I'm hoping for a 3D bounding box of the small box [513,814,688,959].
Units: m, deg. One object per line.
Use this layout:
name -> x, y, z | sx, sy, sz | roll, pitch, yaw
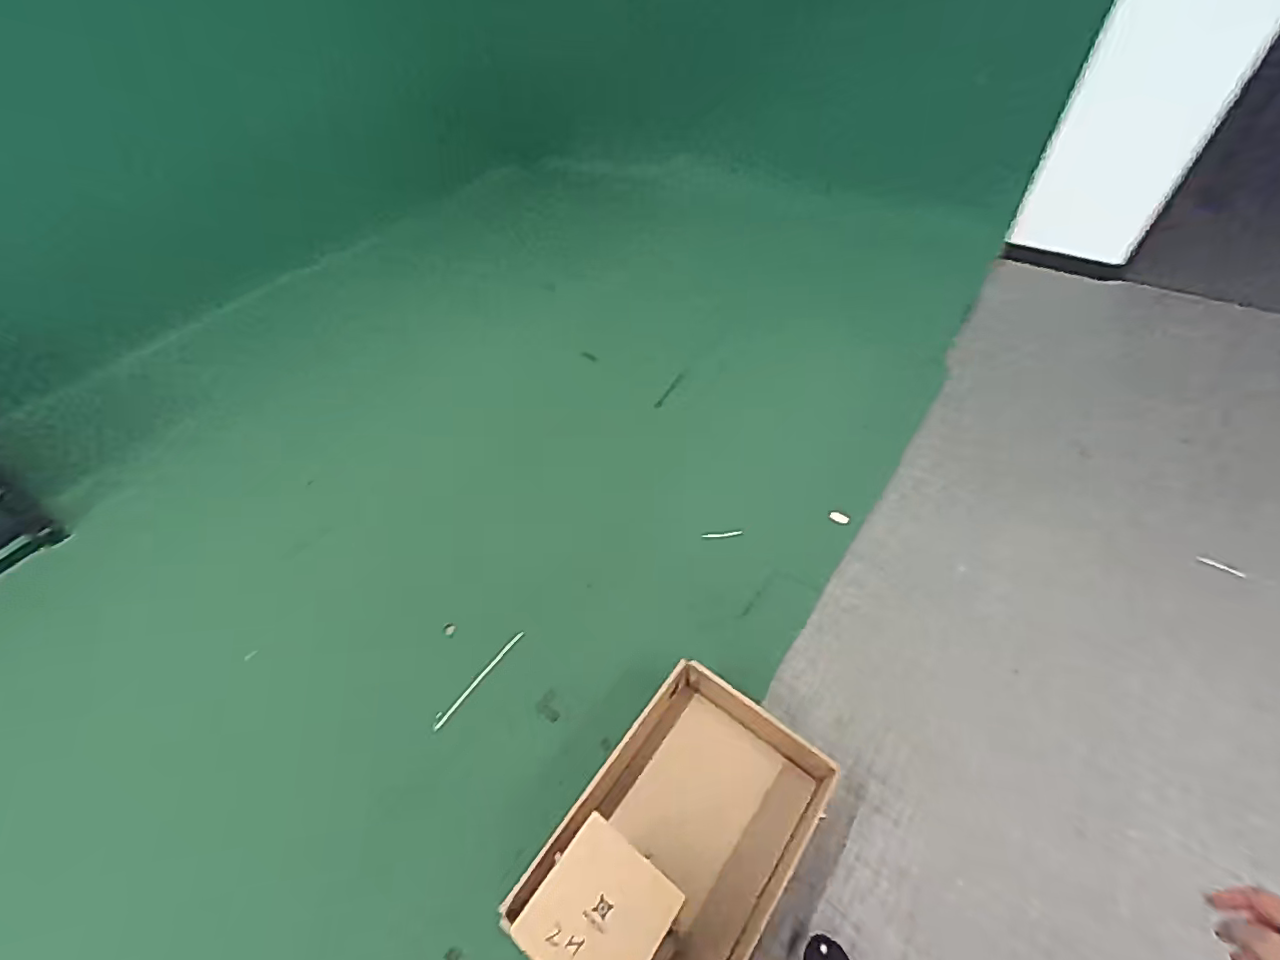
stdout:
small box -> -0.049, 0.622, 0.769 | 0.168, 0.176, 0.179 | 29, 58, 25
